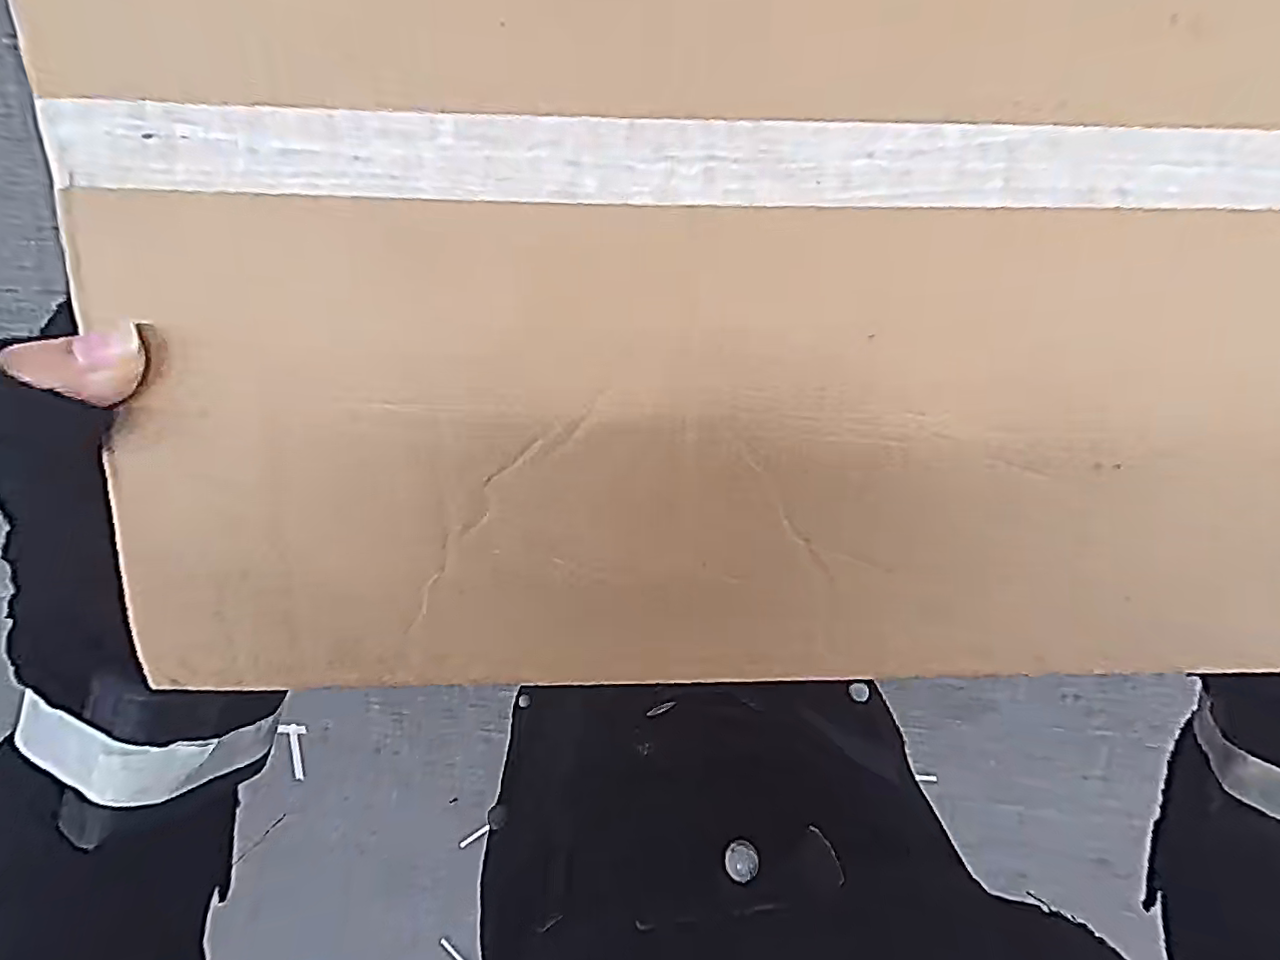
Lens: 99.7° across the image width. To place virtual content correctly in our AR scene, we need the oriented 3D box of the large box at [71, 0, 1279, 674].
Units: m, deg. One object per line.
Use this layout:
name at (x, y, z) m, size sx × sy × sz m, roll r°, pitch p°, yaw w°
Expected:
large box at (0.039, -0.116, 0.311) m, size 0.408 × 0.320 × 0.320 m, roll -1°, pitch 100°, yaw -3°
